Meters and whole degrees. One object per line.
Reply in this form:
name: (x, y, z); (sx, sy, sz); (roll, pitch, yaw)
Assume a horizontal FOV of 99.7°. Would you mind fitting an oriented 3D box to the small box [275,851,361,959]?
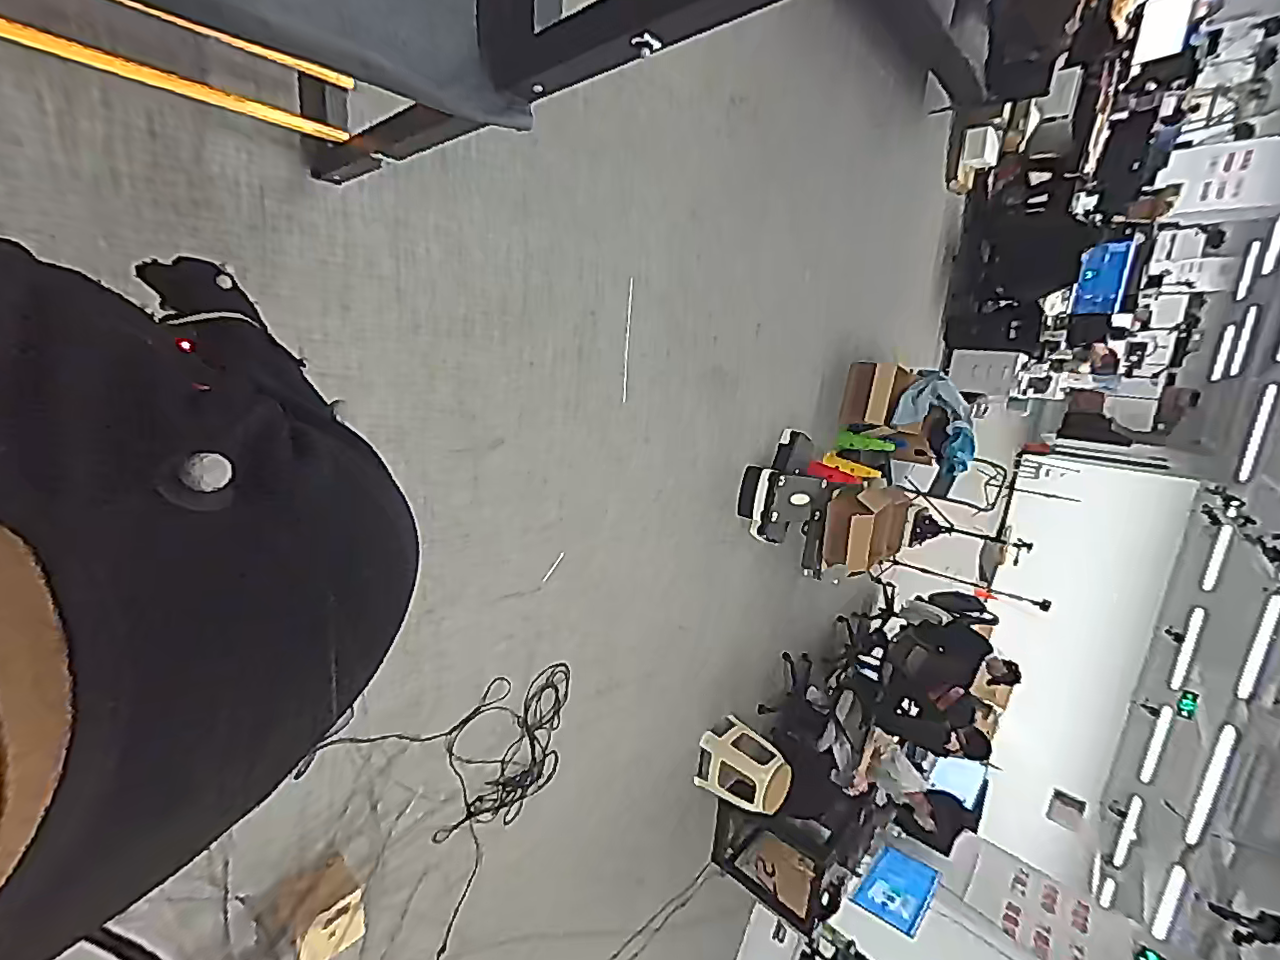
small box: (-0.930, 1.221, 1.559); (0.168, 0.176, 0.179); (-13, 113, -47)
